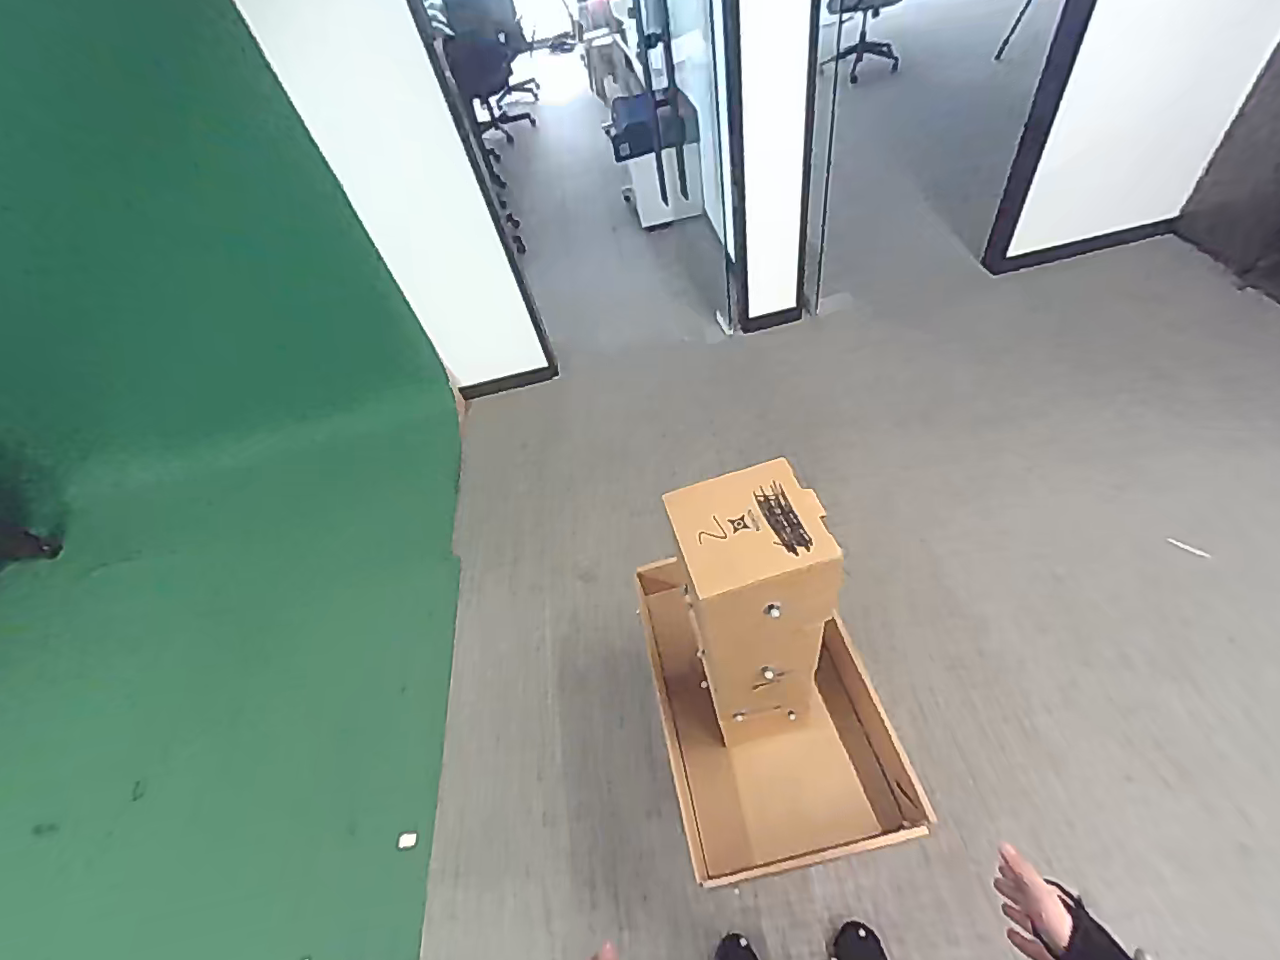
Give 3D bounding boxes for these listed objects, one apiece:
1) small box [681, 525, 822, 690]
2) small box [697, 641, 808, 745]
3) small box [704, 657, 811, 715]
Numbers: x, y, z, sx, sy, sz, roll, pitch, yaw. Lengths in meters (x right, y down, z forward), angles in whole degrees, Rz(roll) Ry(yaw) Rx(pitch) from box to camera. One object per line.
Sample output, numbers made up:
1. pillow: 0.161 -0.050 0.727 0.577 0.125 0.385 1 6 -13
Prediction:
1. small box: 0.168 0.202 0.849 0.168 0.176 0.179 -14 49 1
2. small box: 0.225 0.415 1.094 0.179 0.176 0.168 -14 48 1
3. small box: 0.197 0.306 0.974 0.168 0.176 0.179 -12 48 2
